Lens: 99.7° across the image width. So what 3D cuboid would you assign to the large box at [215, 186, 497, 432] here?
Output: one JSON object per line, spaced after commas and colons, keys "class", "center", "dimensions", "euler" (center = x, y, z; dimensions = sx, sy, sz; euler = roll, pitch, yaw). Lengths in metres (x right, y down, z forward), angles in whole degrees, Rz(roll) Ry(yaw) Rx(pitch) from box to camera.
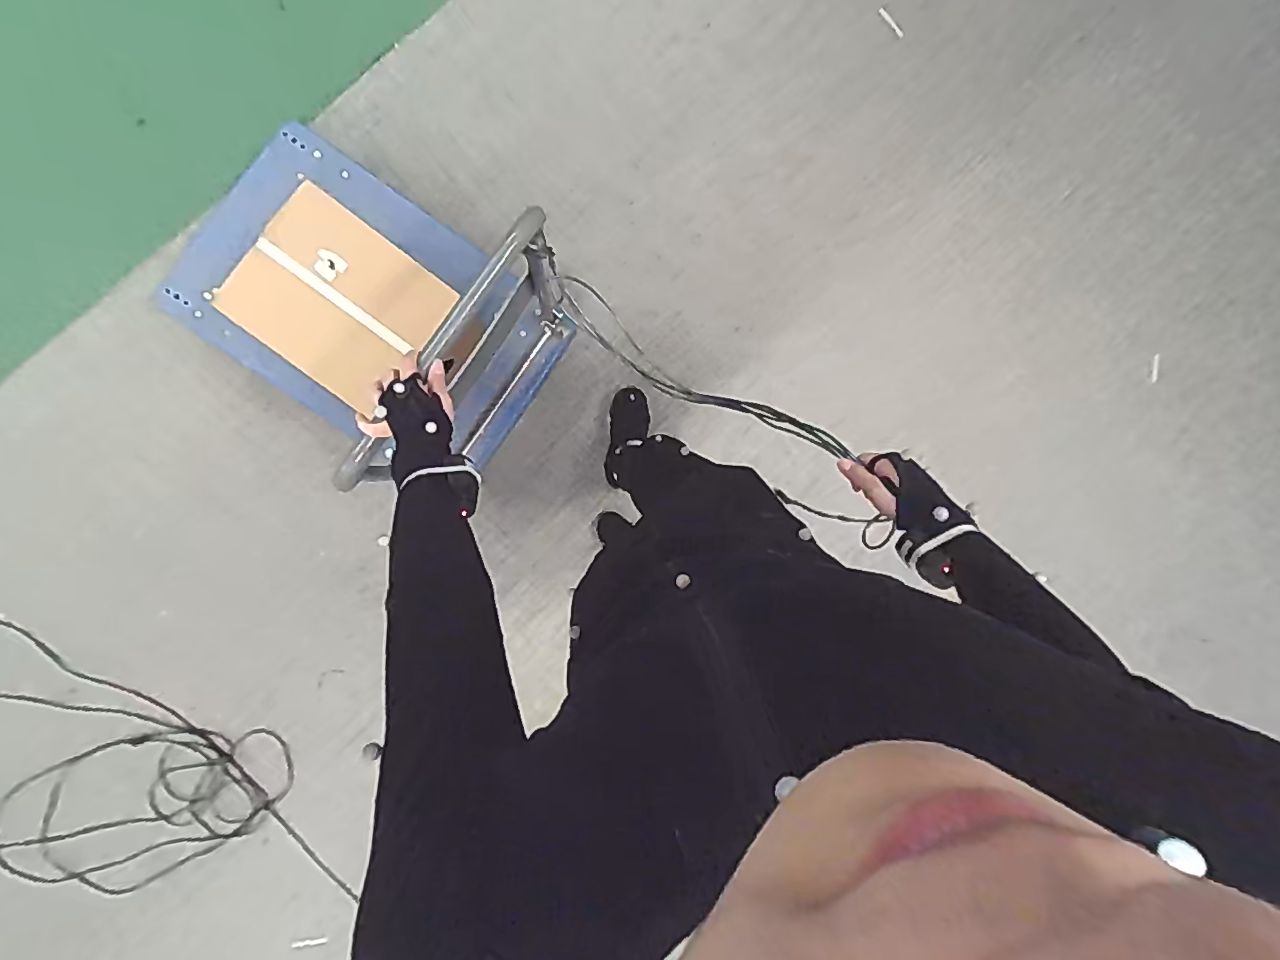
{"class": "large box", "center": [-0.599, -0.350, 1.227], "dimensions": [0.408, 0.320, 0.320], "euler": [37, 87, -5]}
